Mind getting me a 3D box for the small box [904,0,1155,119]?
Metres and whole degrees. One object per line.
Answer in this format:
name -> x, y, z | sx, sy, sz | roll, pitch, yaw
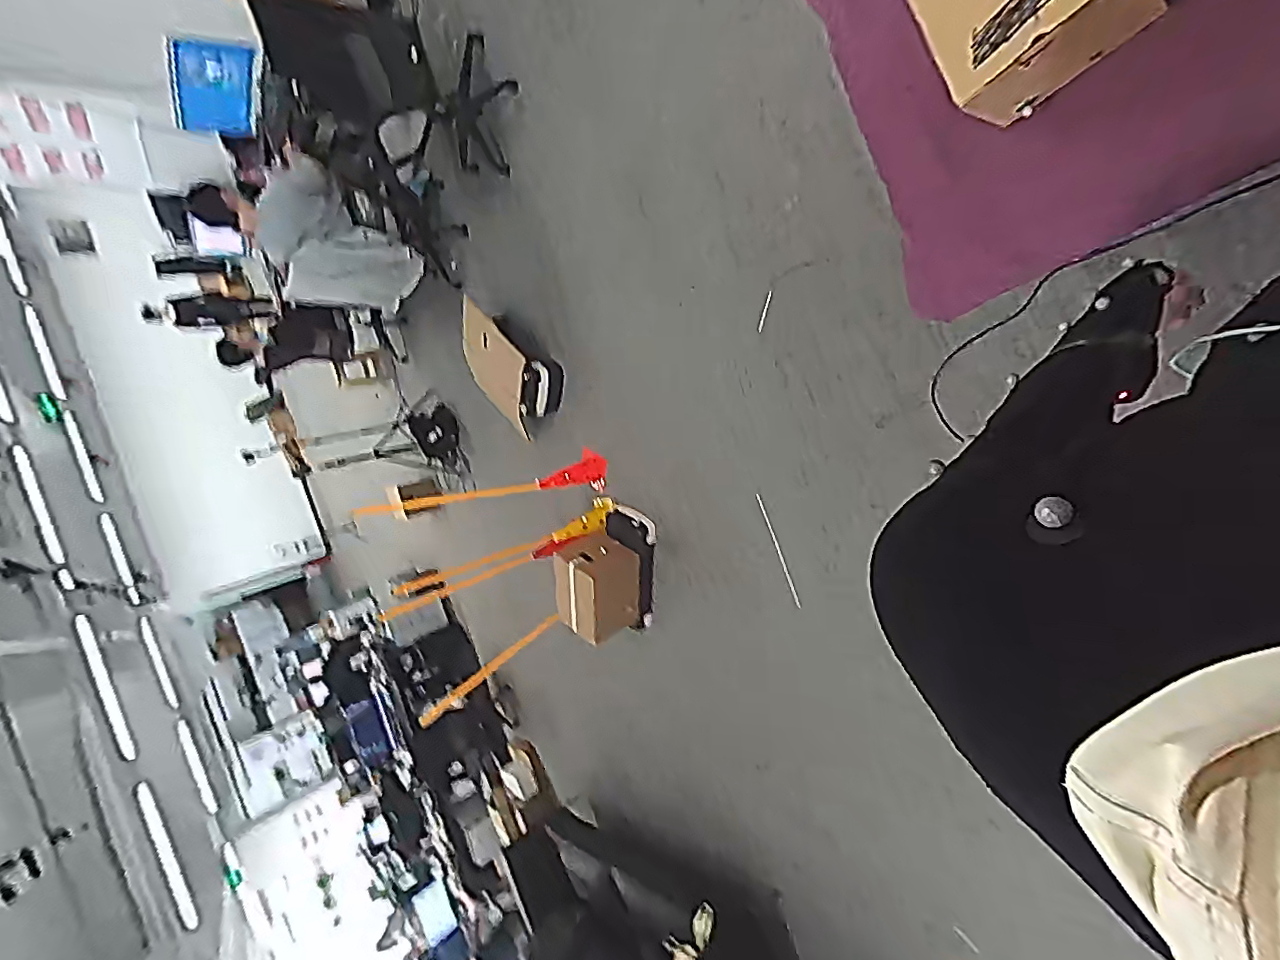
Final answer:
small box -> 0.432, -0.543, 0.606 | 0.168, 0.176, 0.179 | -26, 84, 51
